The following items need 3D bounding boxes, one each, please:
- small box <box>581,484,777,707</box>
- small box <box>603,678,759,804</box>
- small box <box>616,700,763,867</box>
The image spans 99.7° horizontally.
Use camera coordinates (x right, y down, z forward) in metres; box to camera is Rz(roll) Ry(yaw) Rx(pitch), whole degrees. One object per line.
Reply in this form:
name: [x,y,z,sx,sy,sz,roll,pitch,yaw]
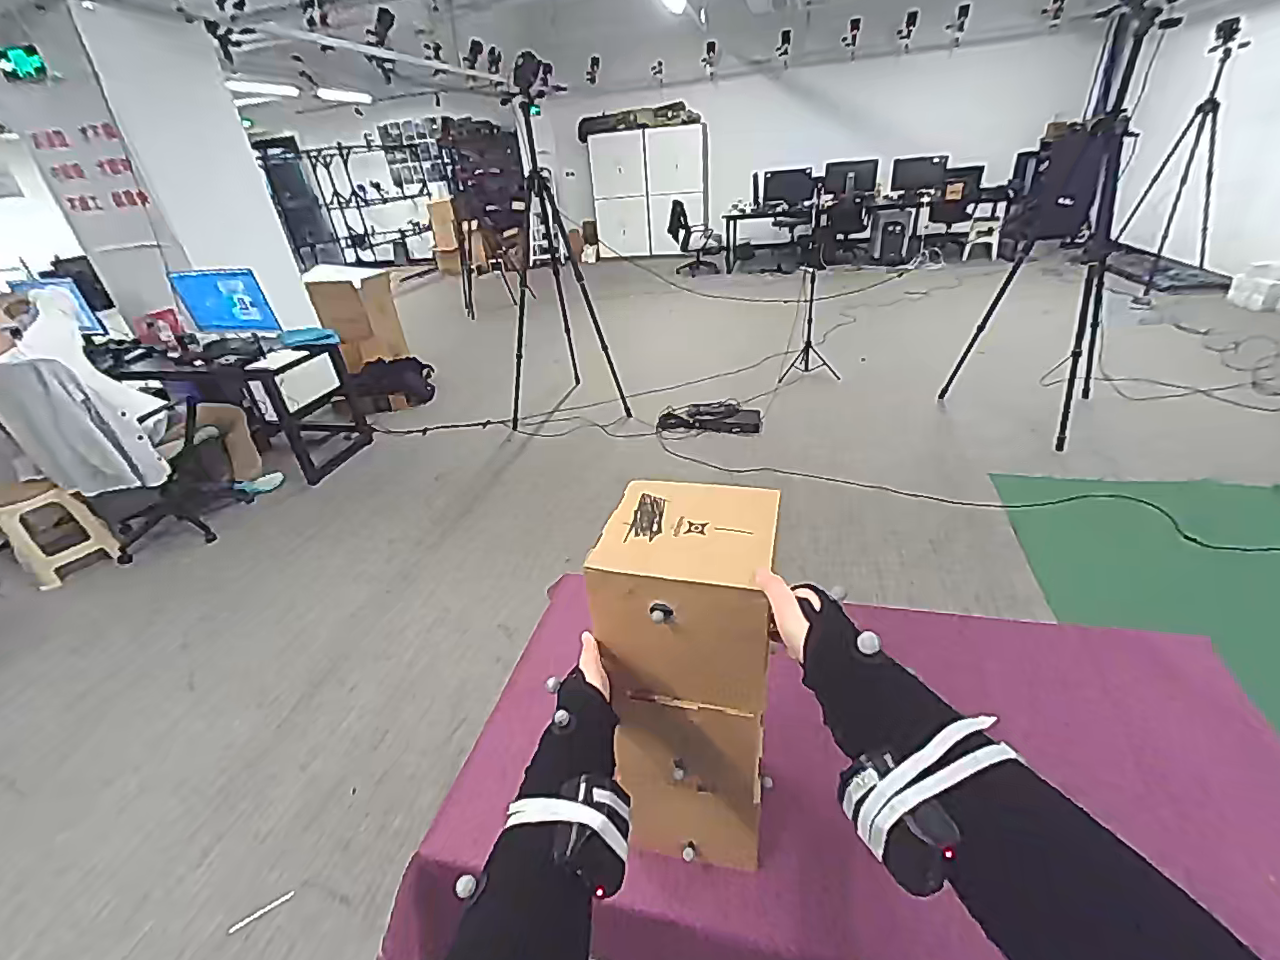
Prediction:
small box: [0.054,0.121,0.594,0.179,0.176,0.168,4,32,15]
small box: [0.064,0.262,0.679,0.168,0.176,0.179,2,32,15]
small box: [0.077,0.406,0.759,0.179,0.176,0.168,3,32,13]
